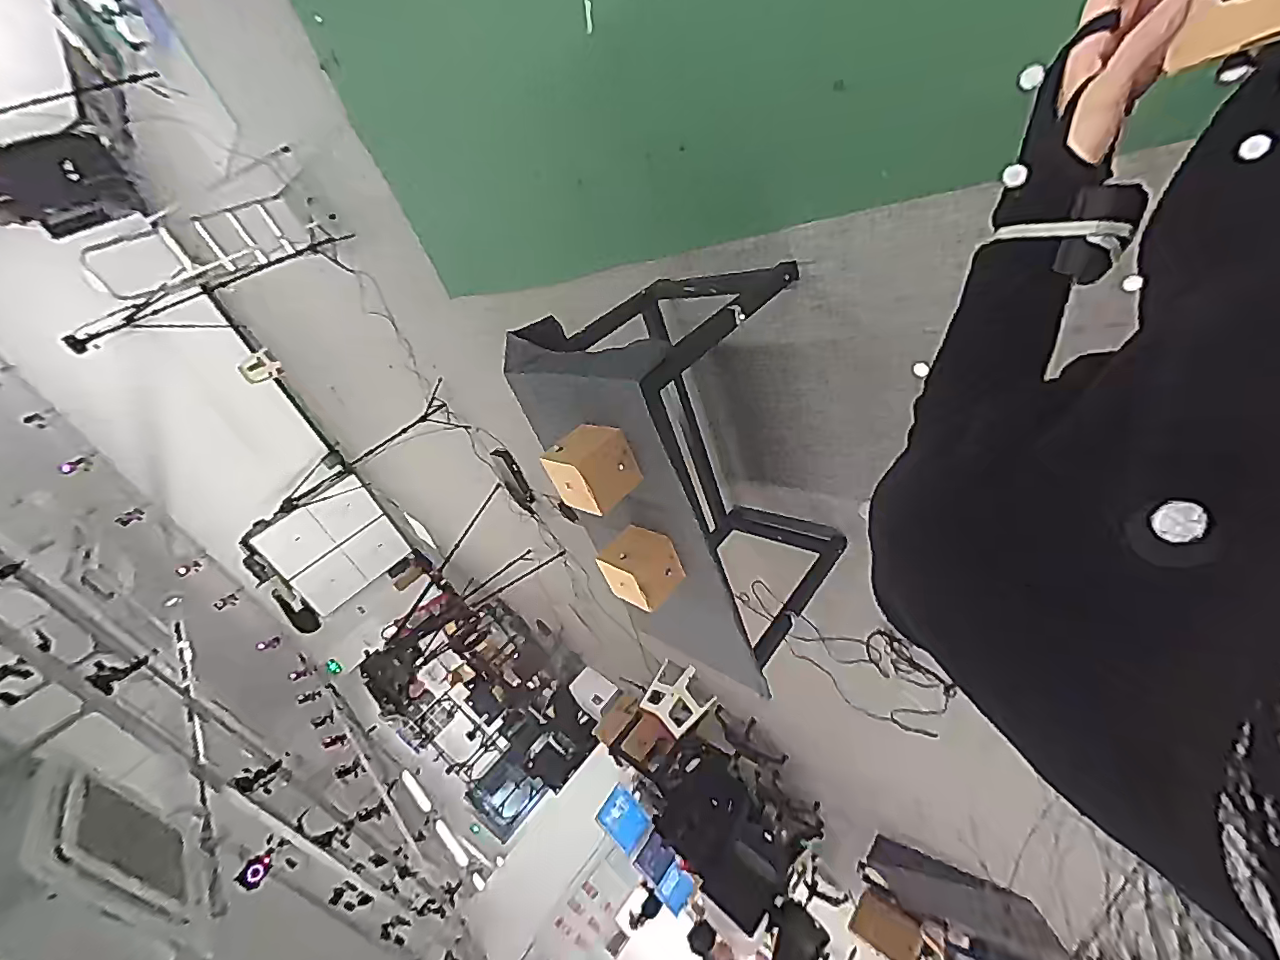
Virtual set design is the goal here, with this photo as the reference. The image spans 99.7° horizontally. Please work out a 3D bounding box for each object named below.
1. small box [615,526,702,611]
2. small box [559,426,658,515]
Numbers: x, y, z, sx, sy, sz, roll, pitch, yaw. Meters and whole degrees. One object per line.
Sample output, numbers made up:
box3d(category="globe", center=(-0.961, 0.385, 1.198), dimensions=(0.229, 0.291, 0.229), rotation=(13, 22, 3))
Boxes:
box3d(category="small box", center=(0.059, 0.263, 1.660), dimensions=(0.179, 0.176, 0.168), rotation=(14, 137, 47))
box3d(category="small box", center=(-0.082, -0.033, 1.472), dimensions=(0.179, 0.176, 0.168), rotation=(12, 137, 49))
